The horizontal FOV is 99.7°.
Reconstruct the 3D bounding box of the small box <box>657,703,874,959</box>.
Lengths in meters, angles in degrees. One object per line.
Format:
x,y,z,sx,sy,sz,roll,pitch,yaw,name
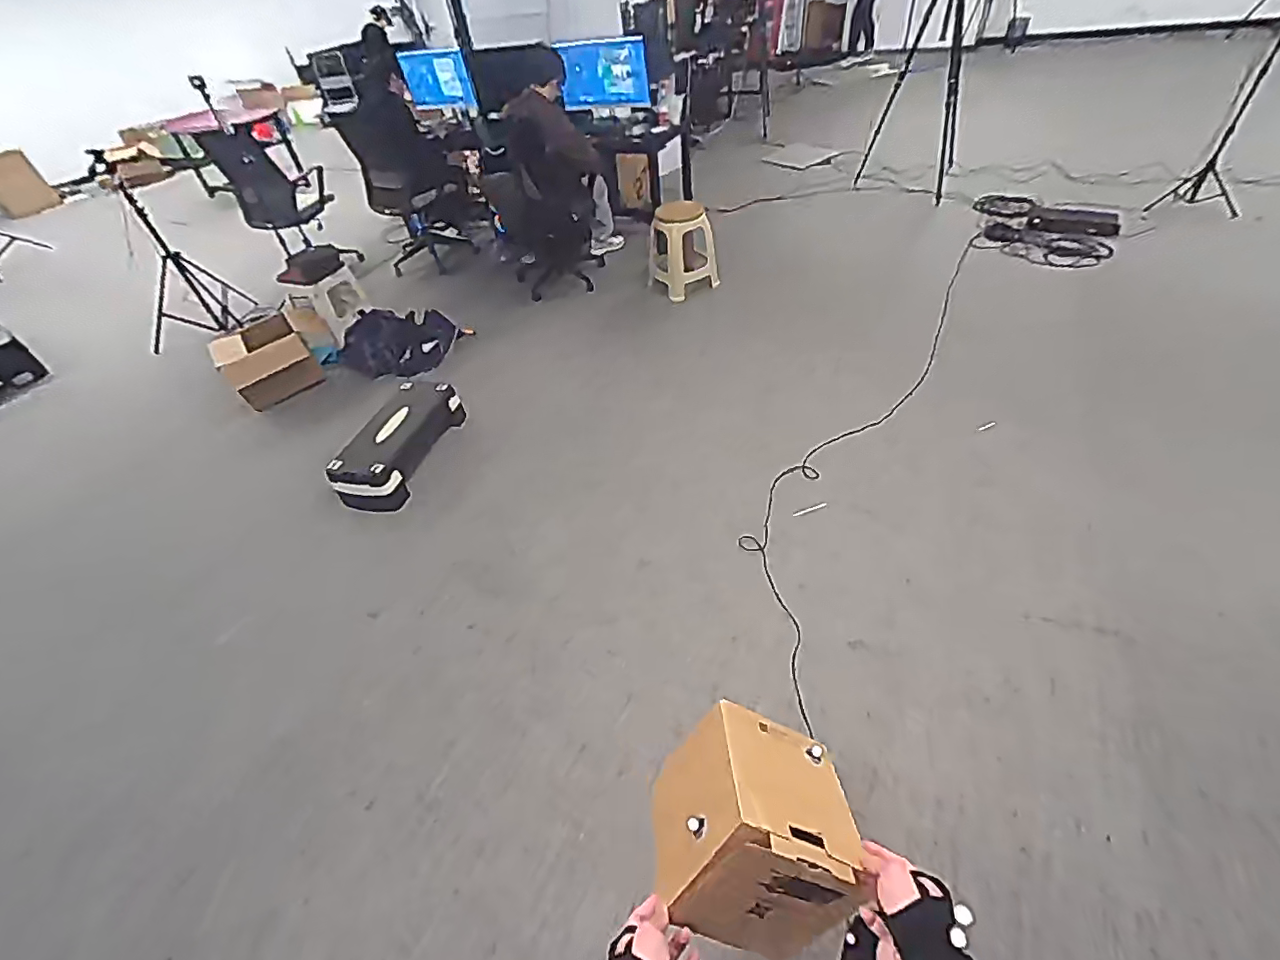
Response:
0.127,0.400,0.633,0.168,0.179,0.176,28,18,-9,small box
